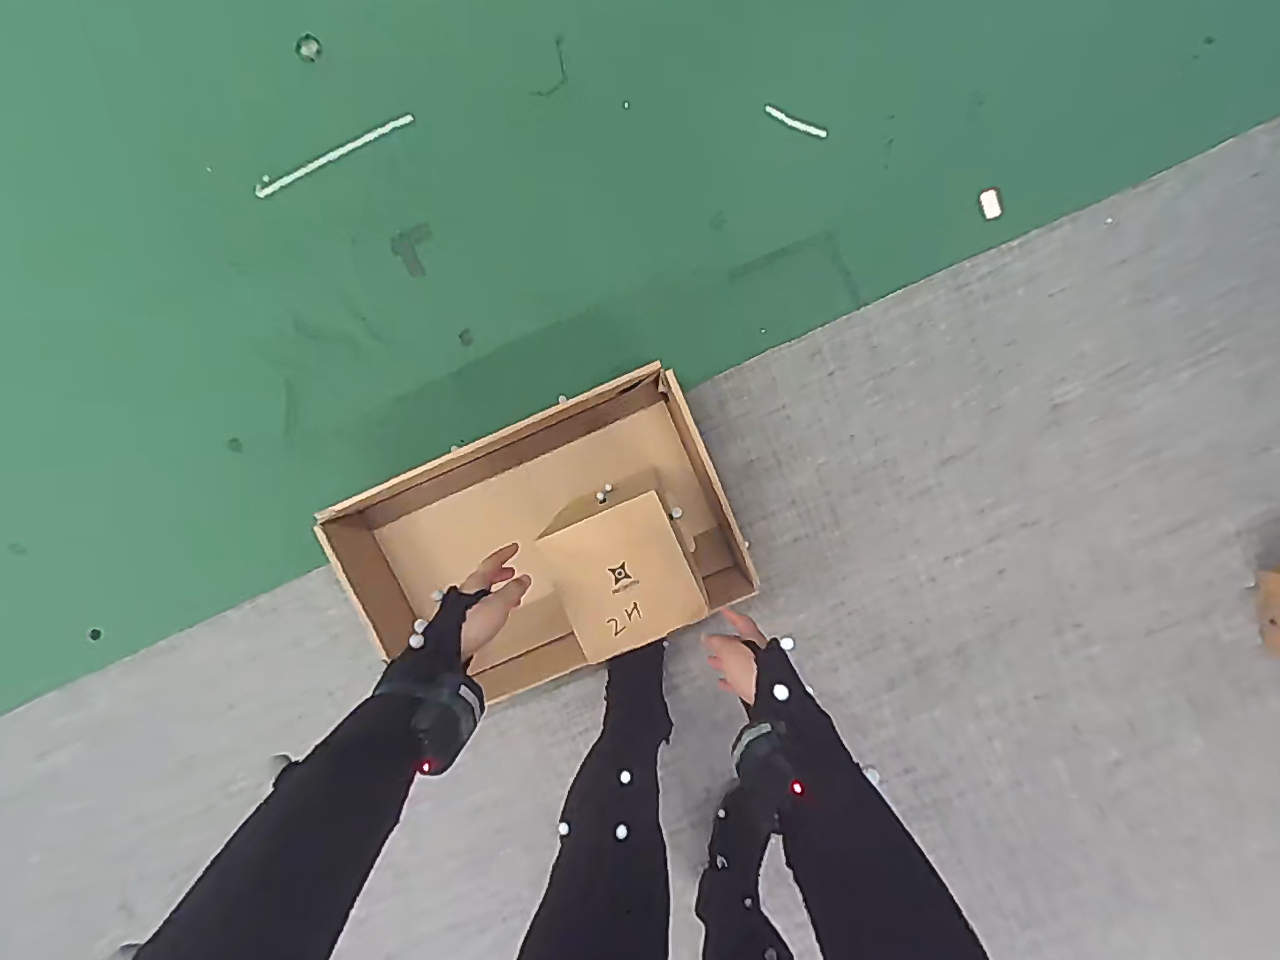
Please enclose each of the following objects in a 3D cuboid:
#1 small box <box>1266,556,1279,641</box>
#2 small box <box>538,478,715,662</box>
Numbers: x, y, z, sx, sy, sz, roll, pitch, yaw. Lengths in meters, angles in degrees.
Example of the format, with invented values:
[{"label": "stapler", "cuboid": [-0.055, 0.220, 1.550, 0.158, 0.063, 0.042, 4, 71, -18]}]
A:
[{"label": "small box", "cuboid": [1.264, 0.219, 0.943, 0.179, 0.176, 0.168, -13, 96, 3]}, {"label": "small box", "cuboid": [-0.015, 0.106, 0.728, 0.168, 0.176, 0.179, -24, 97, 5]}]
